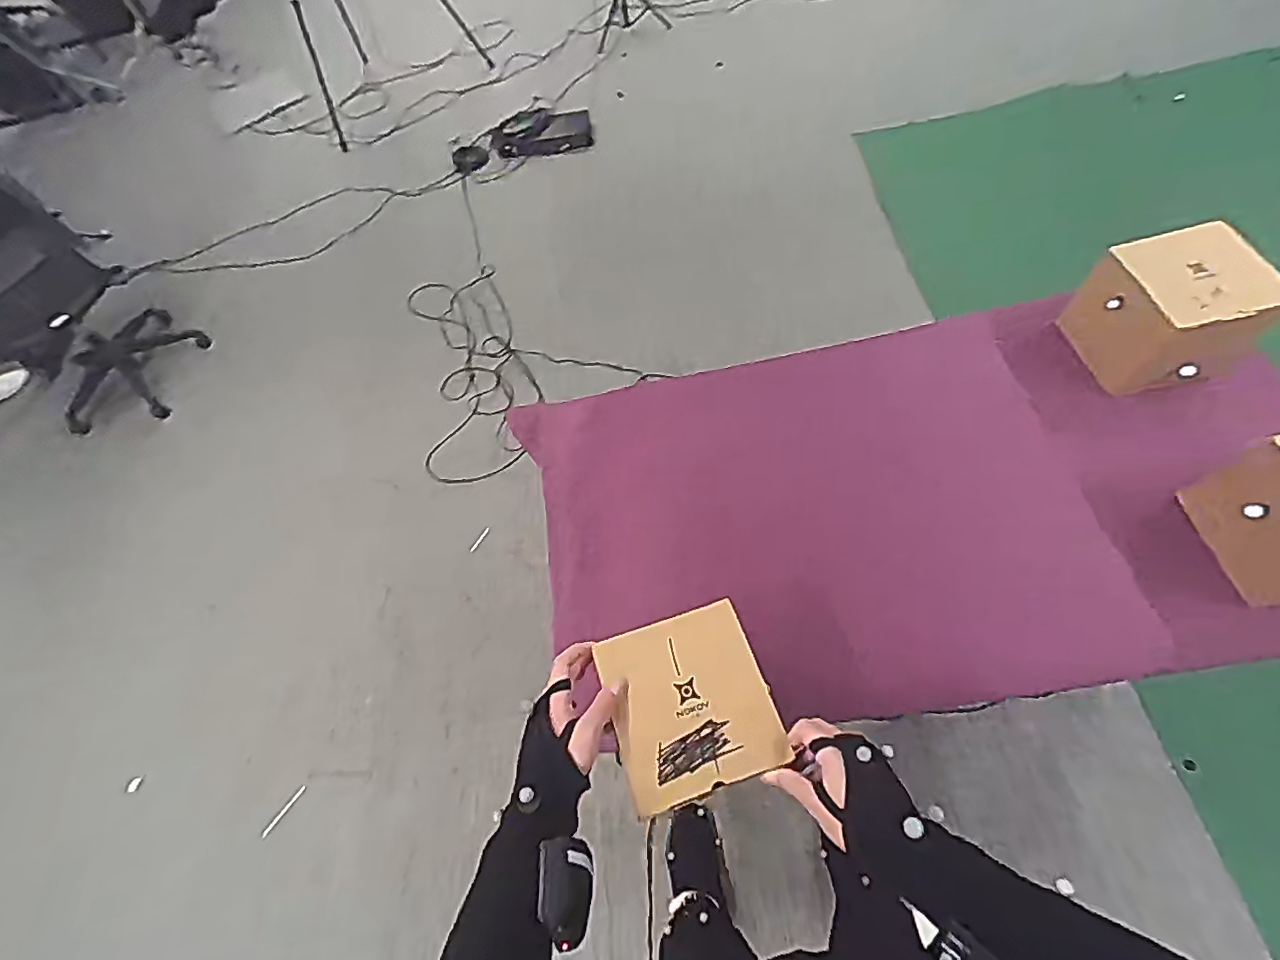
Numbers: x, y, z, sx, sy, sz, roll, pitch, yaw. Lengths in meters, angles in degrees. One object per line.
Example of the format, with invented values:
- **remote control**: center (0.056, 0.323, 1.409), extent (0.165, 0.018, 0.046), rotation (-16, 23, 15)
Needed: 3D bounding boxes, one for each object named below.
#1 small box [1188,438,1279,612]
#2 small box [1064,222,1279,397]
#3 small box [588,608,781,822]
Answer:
- **small box**: center (0.866, 0.050, 0.675), extent (0.168, 0.176, 0.179), rotation (-11, 61, 6)
- **small box**: center (0.821, -0.259, 0.845), extent (0.168, 0.176, 0.179), rotation (-14, 62, 7)
- **small box**: center (0.048, 0.277, 0.642), extent (0.168, 0.176, 0.179), rotation (-17, 61, -5)
